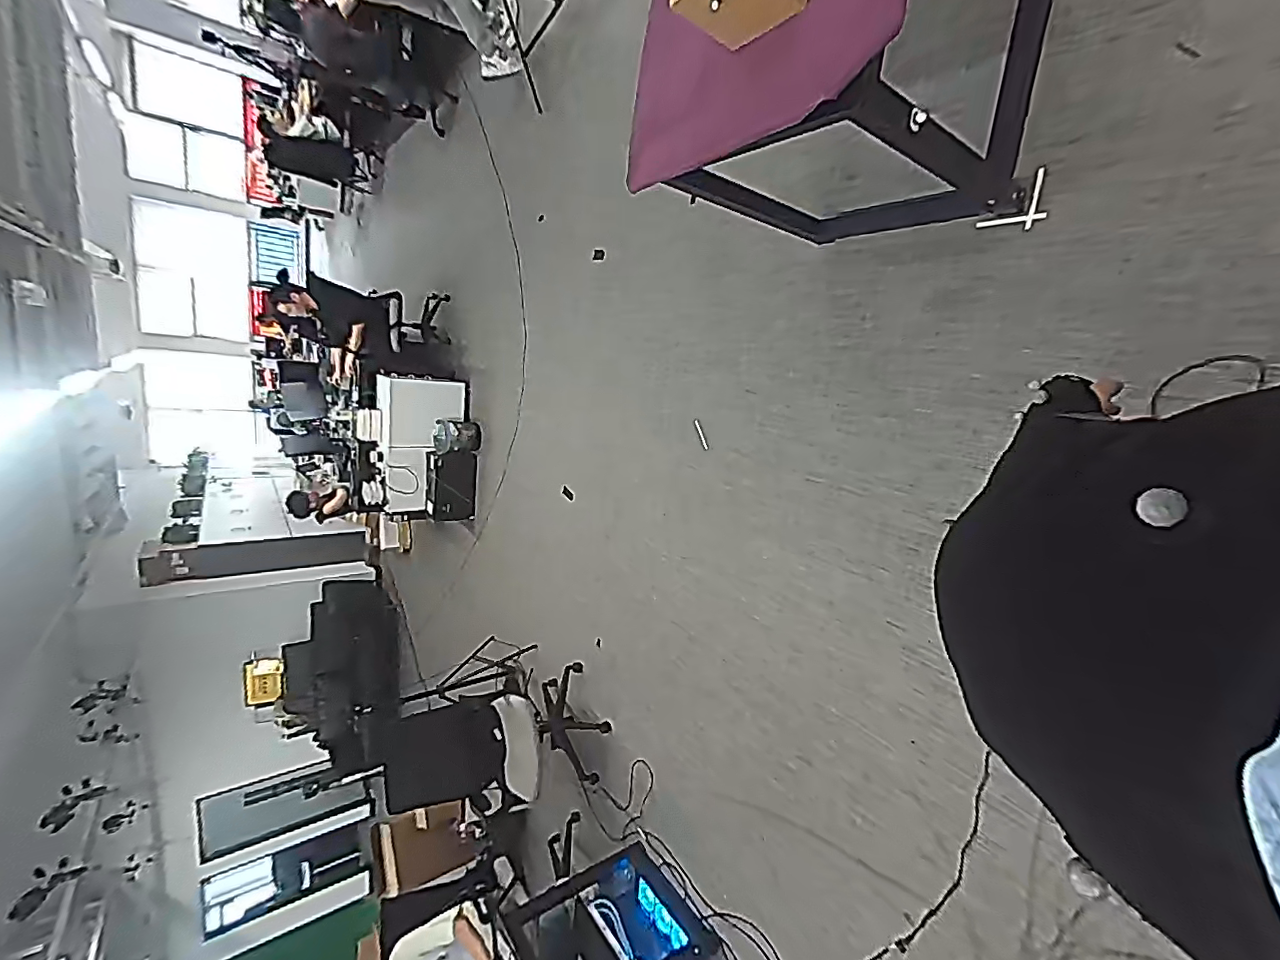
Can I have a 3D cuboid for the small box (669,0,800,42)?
[{"bbox_3d":[0.174,-0.899,0.918,0.179,0.176,0.168,17,105,51],"label":"small box"}]
